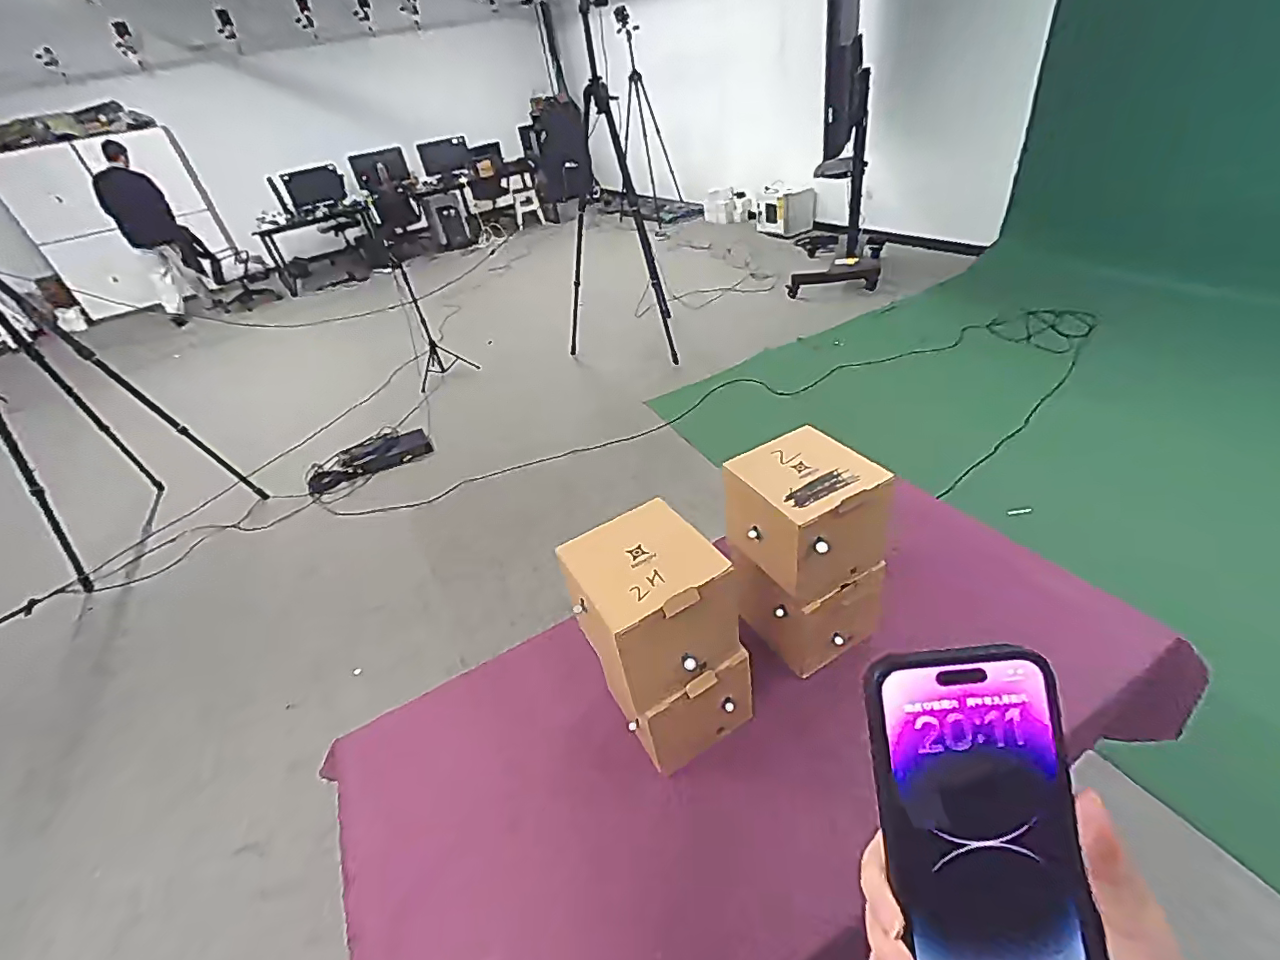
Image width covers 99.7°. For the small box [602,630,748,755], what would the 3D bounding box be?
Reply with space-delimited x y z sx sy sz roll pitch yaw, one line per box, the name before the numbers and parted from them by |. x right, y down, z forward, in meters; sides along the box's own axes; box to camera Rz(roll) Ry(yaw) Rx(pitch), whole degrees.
small box | 0.050 0.282 0.820 0.168 0.176 0.179 -26 39 -18

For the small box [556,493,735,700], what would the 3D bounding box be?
small box | 0.010 0.153 0.725 0.168 0.176 0.179 -27 40 -19

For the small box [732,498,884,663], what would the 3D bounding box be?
small box | 0.273 0.167 0.908 0.168 0.176 0.179 -26 40 -18
